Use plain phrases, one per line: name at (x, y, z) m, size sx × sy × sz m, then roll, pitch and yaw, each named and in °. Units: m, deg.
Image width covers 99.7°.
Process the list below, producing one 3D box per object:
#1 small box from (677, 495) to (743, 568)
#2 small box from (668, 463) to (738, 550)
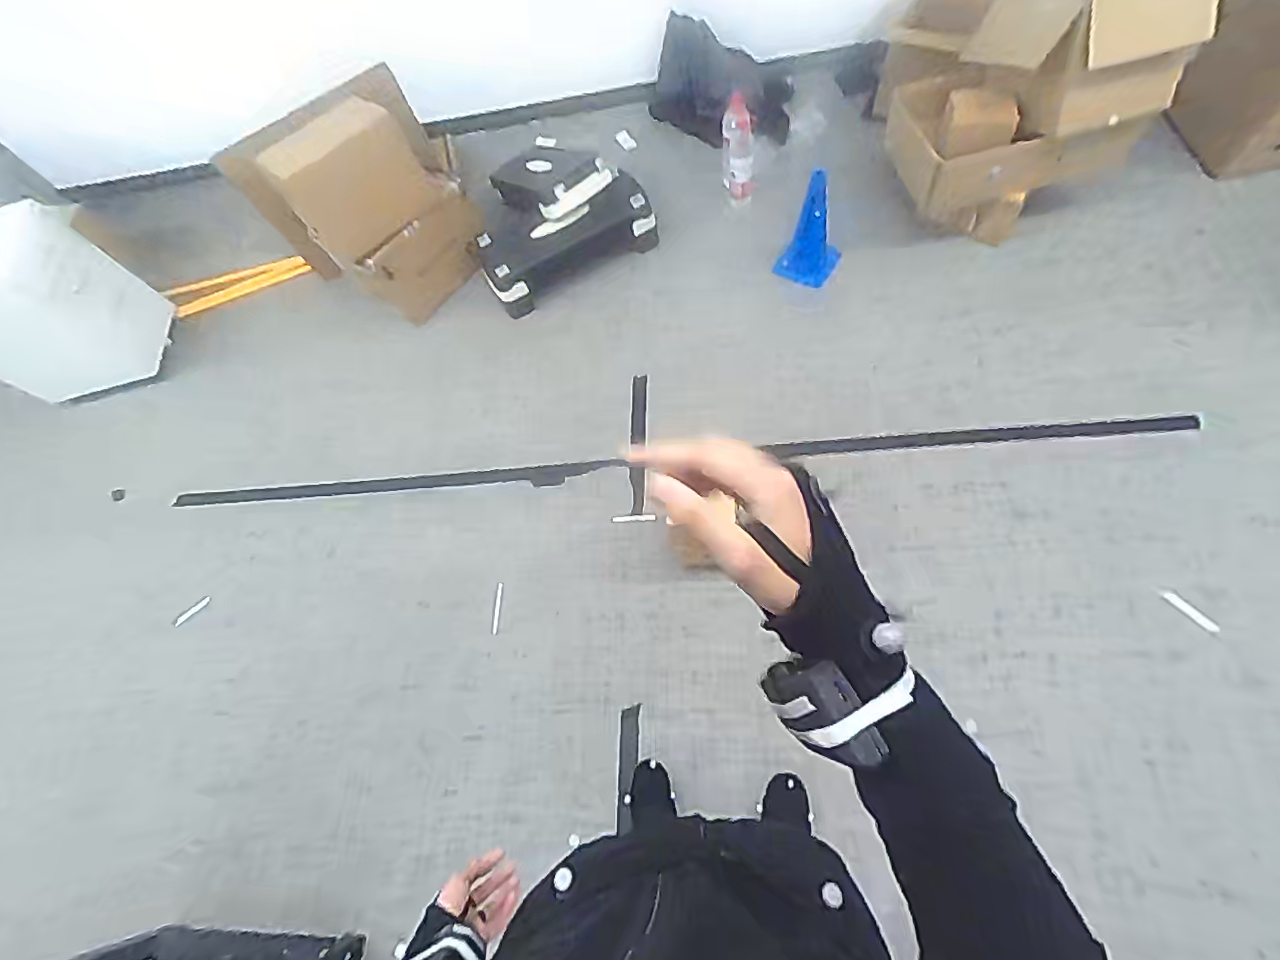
small box at (0.199, 0.148, 1.538) m, size 0.179 × 0.176 × 0.168 m, roll -4°, pitch 65°, yaw 9°
small box at (0.168, 0.070, 1.398) m, size 0.168 × 0.176 × 0.179 m, roll 1°, pitch 66°, yaw 11°
